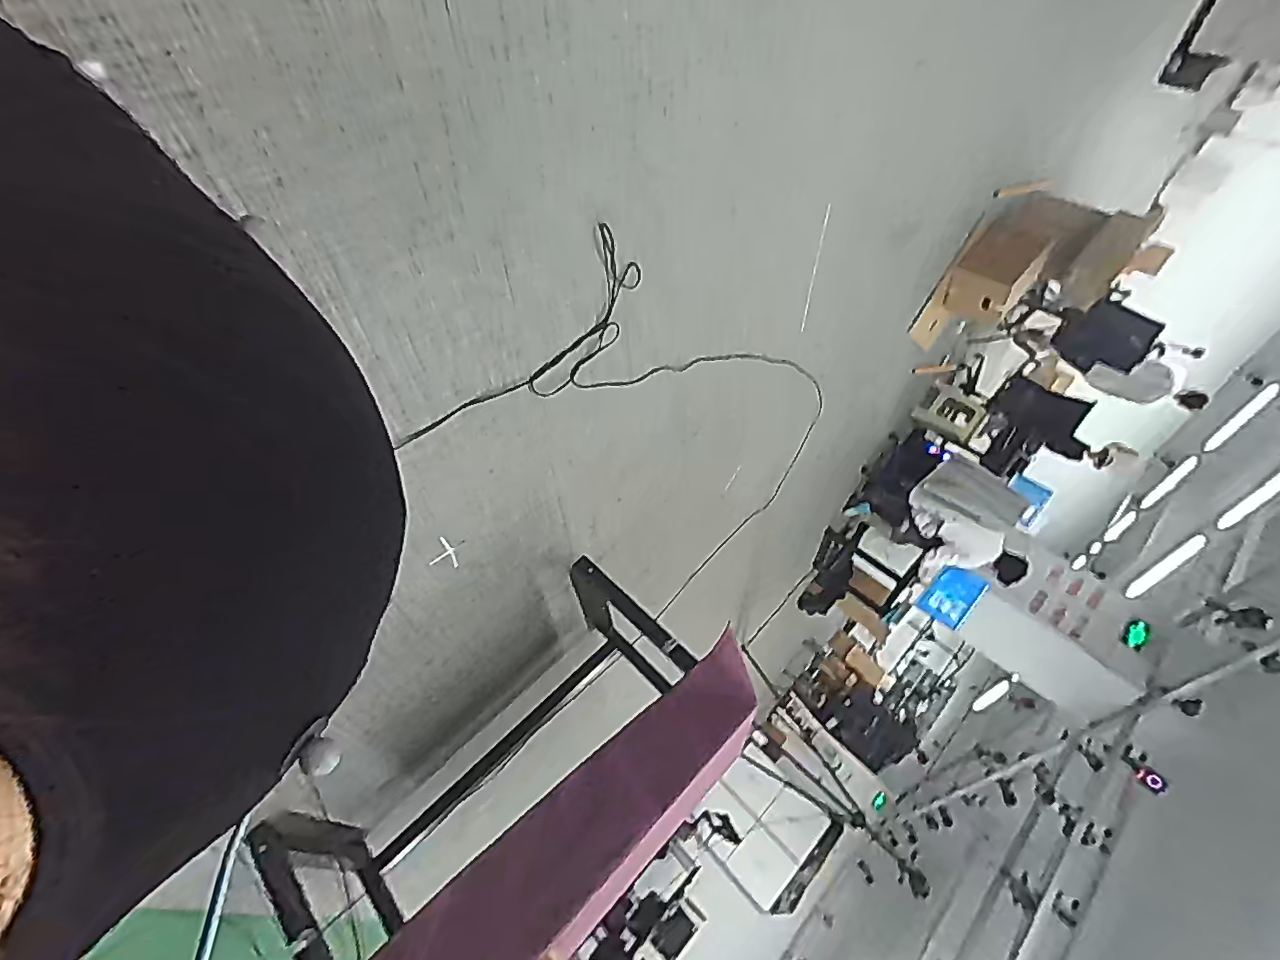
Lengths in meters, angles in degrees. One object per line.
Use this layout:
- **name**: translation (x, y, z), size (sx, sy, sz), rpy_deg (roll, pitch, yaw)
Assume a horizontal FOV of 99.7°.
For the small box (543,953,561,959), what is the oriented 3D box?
- **small box**: translation (-0.215, 1.238, 1.240), size (0.179, 0.176, 0.168), rpy_deg (-34, 147, -28)
